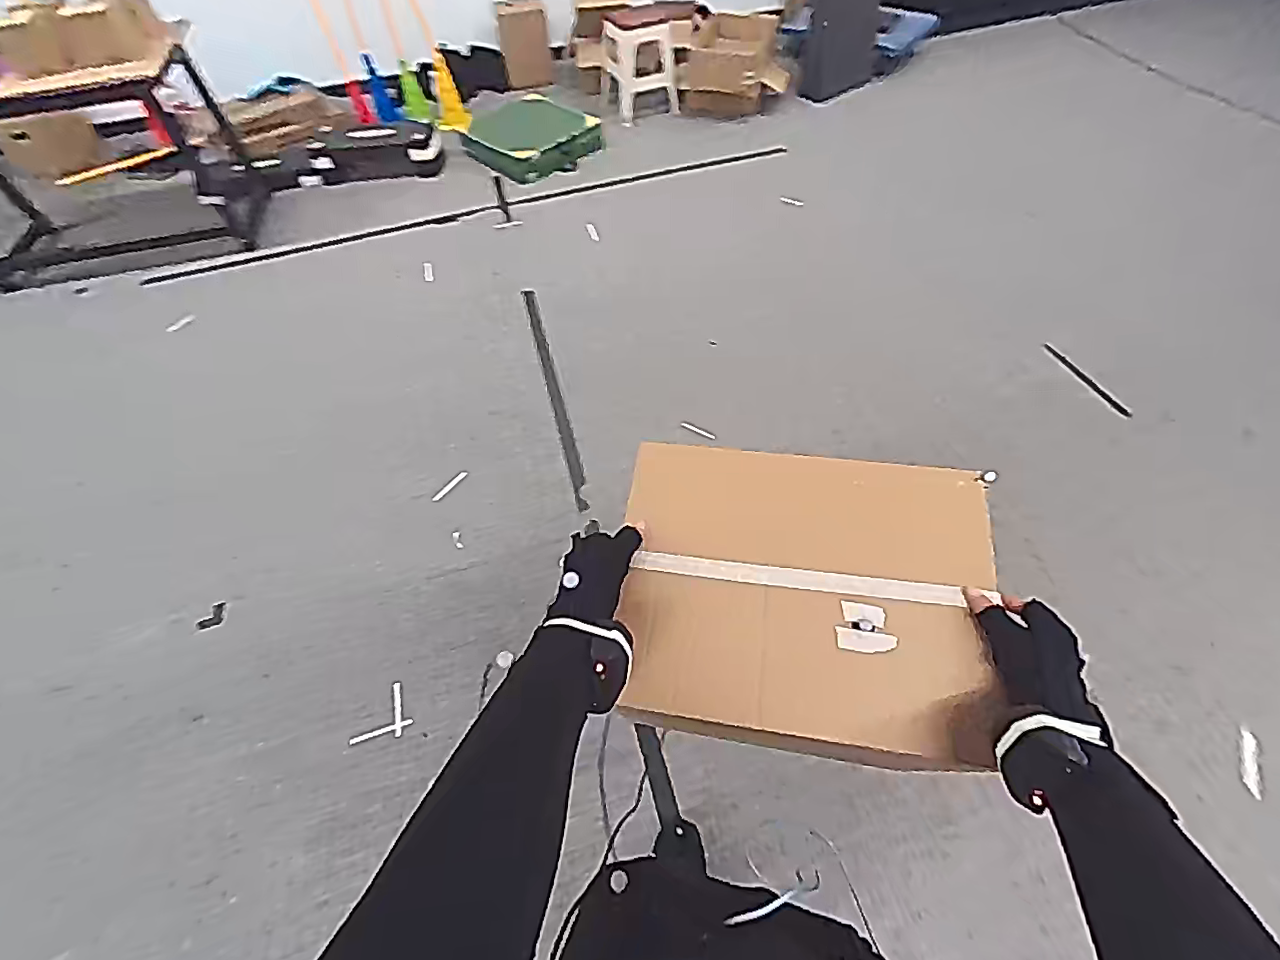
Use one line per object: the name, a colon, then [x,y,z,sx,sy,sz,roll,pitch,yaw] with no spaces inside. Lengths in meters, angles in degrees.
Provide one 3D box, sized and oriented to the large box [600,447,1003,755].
large box: [0.184,0.175,0.737,0.408,0.320,0.320,5,64,9]
